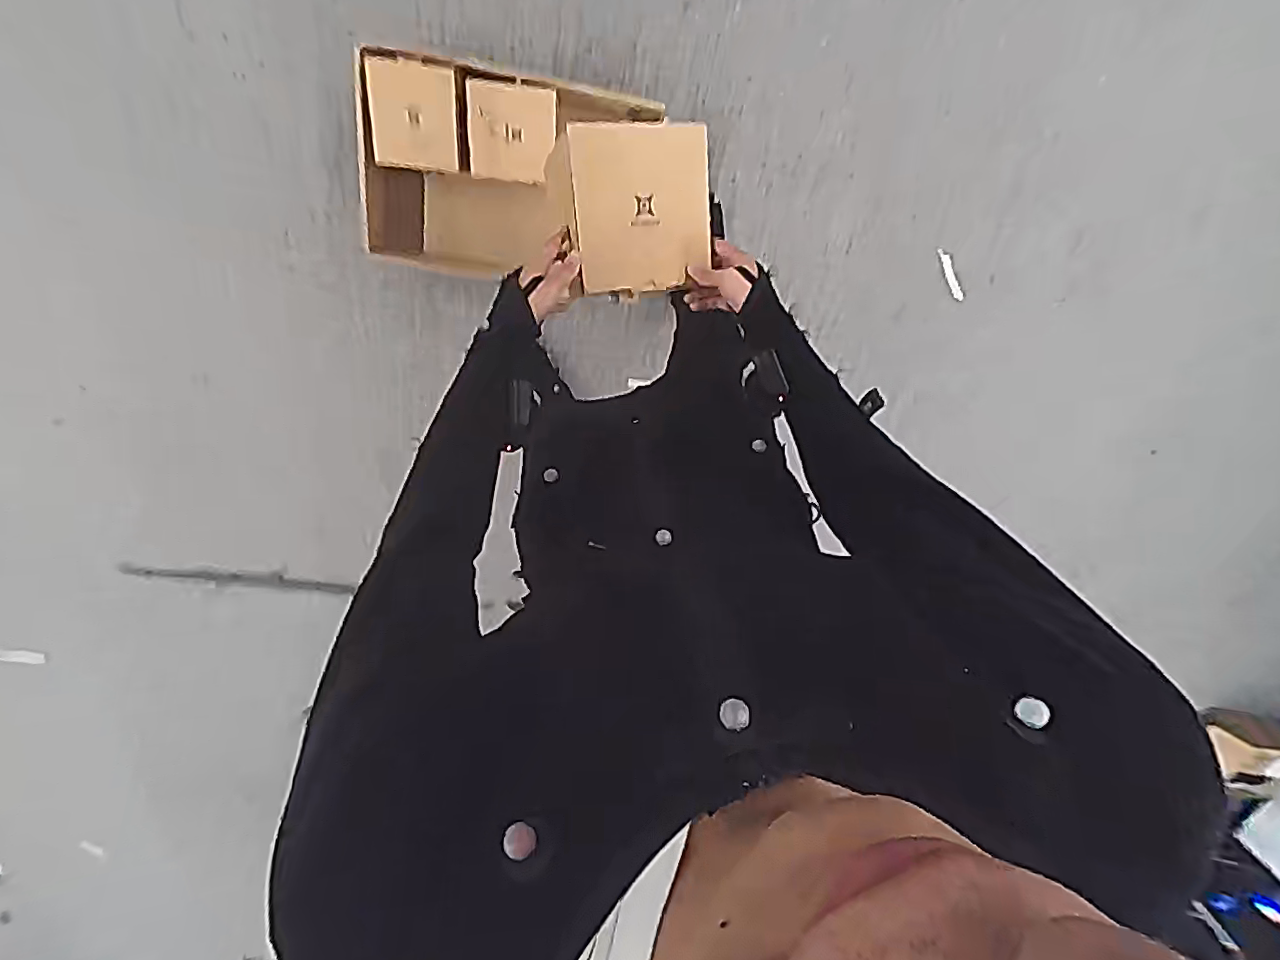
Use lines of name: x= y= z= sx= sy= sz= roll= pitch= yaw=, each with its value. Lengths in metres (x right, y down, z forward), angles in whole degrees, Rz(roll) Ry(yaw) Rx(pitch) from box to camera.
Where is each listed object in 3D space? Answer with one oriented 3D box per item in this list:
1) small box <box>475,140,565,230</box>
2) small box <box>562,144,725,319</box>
small box: x=-0.263 y=-0.663 z=1.226 sx=0.179 sy=0.176 sz=0.168 roll=-4 pitch=112 yaw=-4
small box: x=-0.002 y=-0.312 z=0.705 sx=0.168 sy=0.176 sz=0.179 roll=-10 pitch=107 yaw=-12
